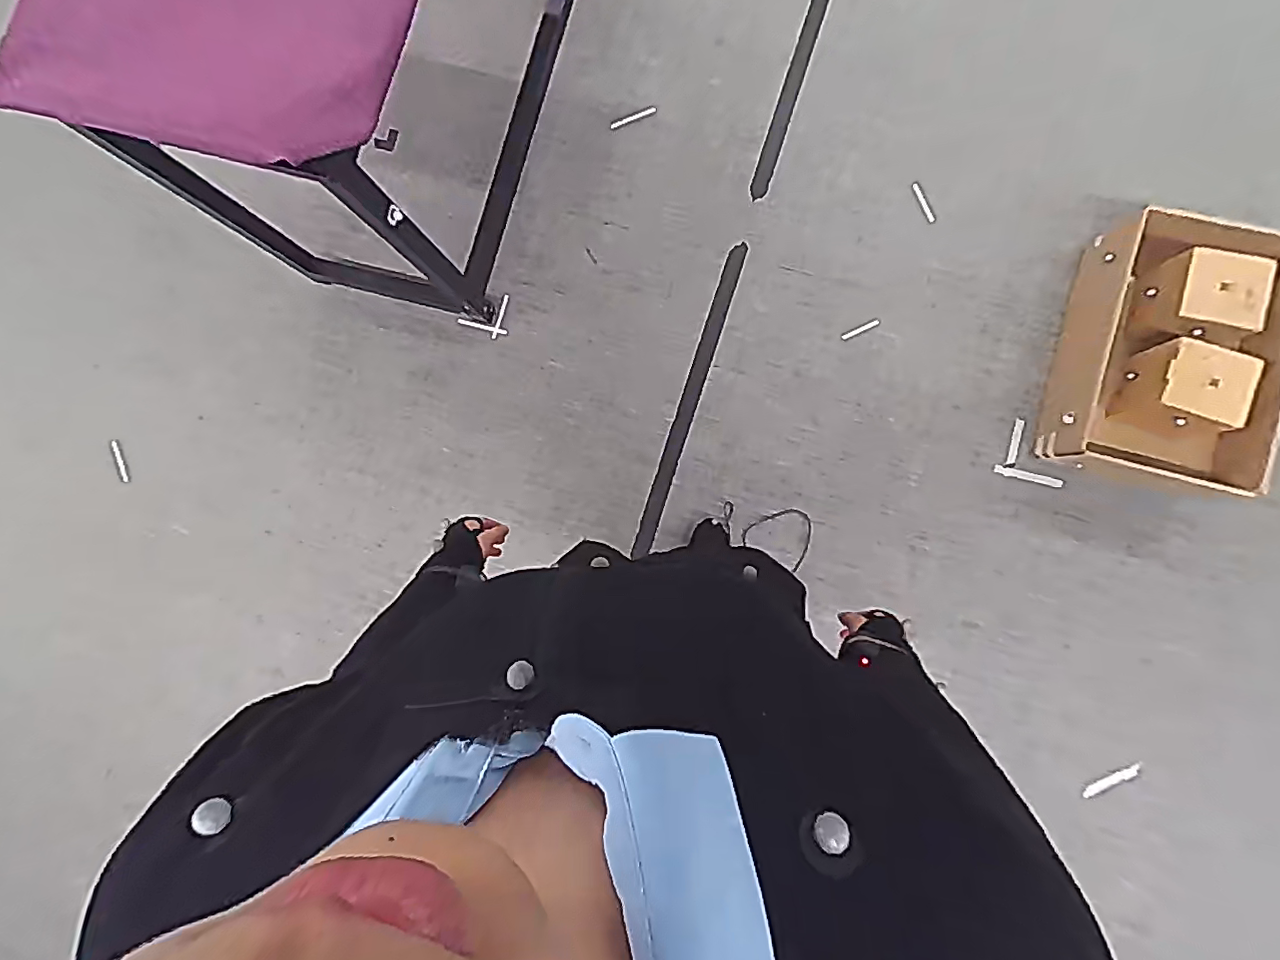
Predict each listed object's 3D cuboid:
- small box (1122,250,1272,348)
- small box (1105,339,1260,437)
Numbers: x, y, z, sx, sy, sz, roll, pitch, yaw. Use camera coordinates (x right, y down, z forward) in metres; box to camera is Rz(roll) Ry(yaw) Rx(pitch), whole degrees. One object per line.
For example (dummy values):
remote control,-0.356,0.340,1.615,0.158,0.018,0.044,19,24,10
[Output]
small box,1.327,-0.424,1.302,0.179,0.176,0.168,14,89,6
small box,1.285,-0.210,1.295,0.179,0.176,0.168,21,88,6
